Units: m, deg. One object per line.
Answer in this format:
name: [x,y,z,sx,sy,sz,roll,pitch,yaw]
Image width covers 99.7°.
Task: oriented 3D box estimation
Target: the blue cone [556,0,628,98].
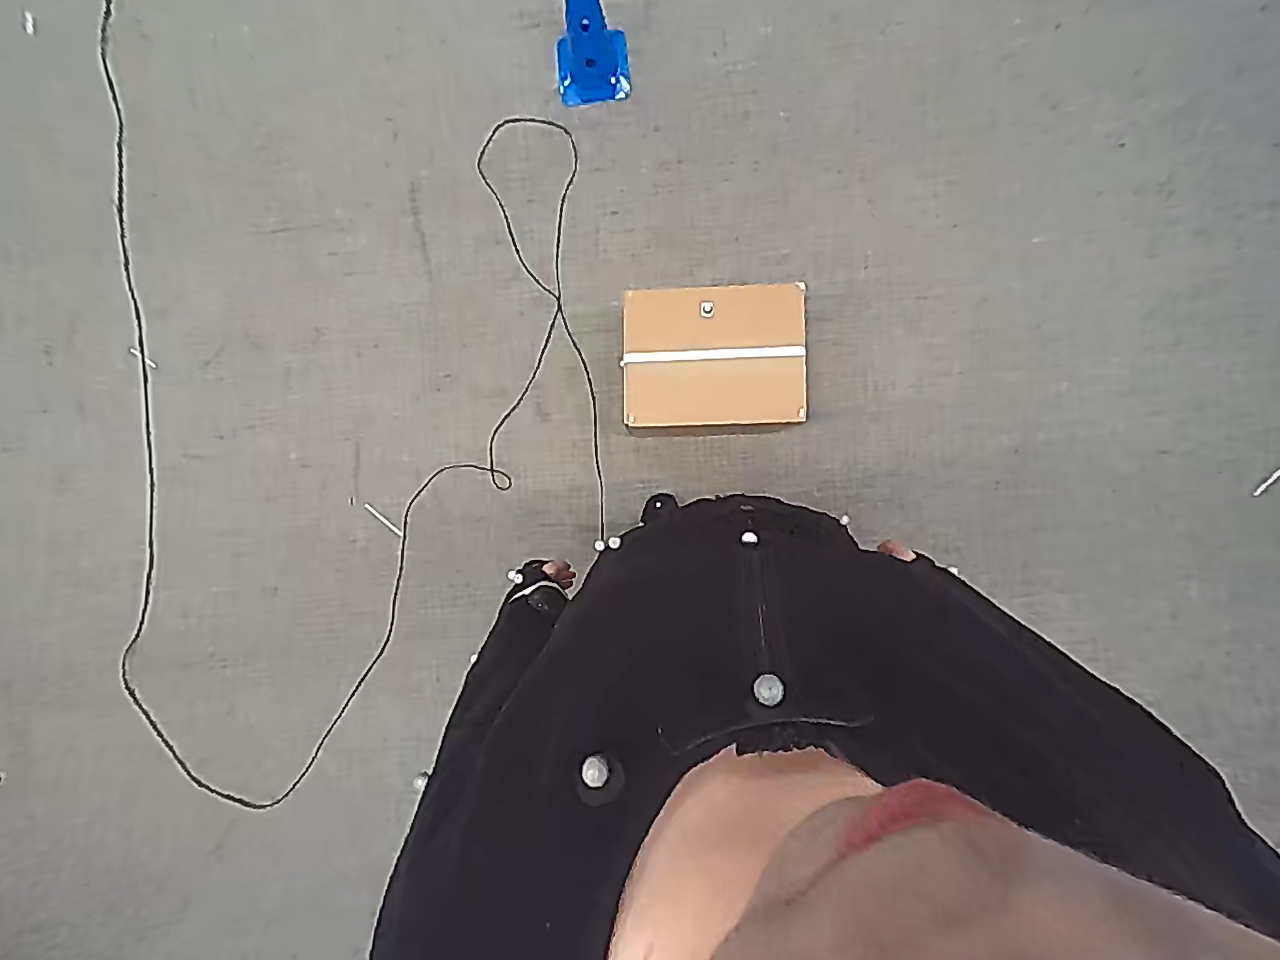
blue cone: [-0.141,-1.176,1.347,0.193,0.380,0.192,-8,89,2]
